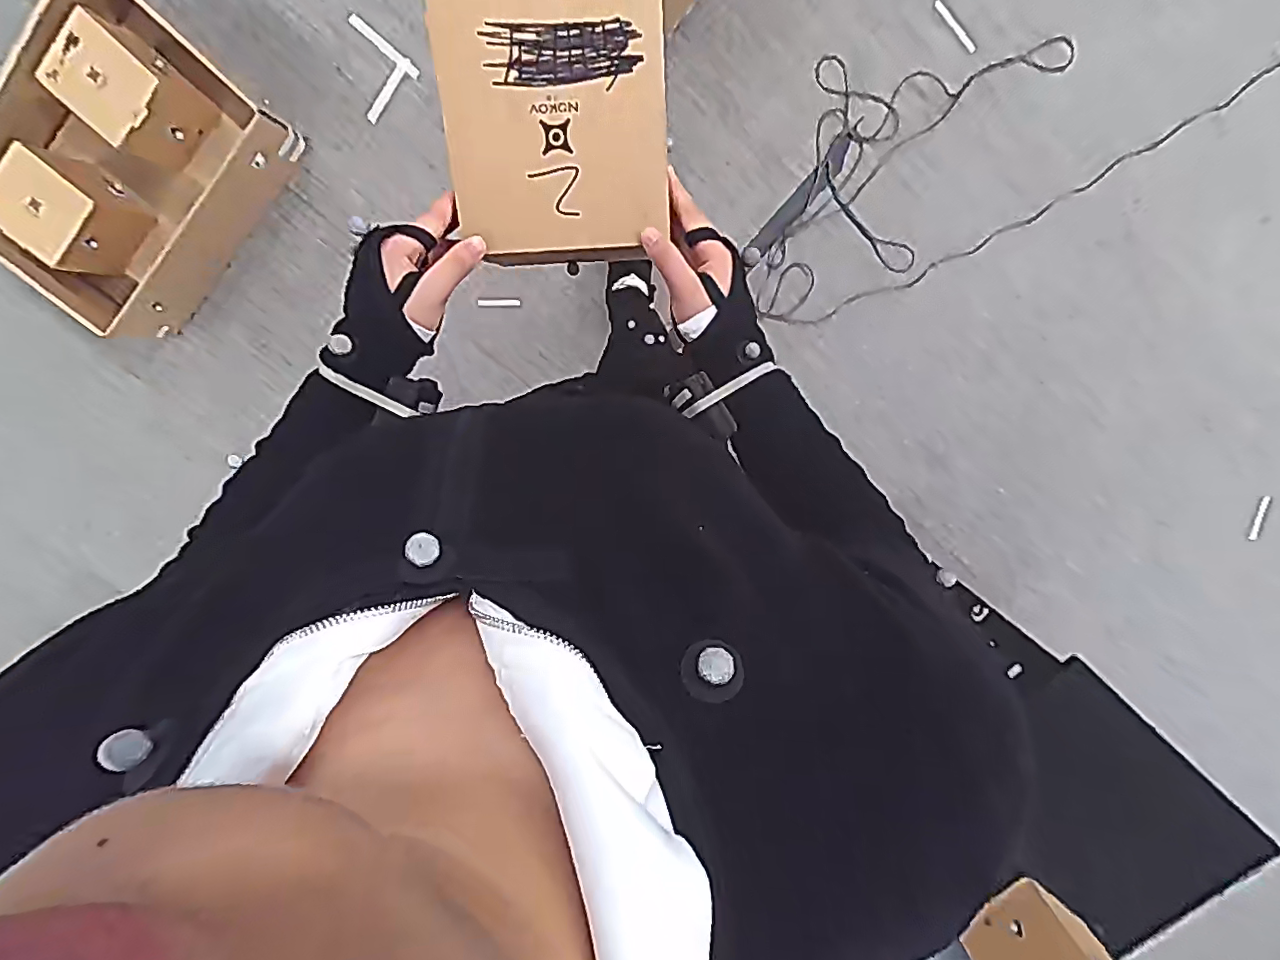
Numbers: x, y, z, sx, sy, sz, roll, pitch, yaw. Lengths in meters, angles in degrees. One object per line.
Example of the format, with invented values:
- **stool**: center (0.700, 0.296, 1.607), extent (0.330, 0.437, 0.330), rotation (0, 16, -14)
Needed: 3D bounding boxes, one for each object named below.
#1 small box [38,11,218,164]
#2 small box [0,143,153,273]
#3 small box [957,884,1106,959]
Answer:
- **small box**: center (-1.036, -0.786, 1.113), extent (0.168, 0.176, 0.179), rotation (-43, 104, 11)
- **small box**: center (-1.225, -0.573, 1.169), extent (0.168, 0.176, 0.179), rotation (41, 99, -14)
- **small box**: center (0.686, 0.832, 0.904), extent (0.179, 0.176, 0.168), rotation (41, 101, -11)
